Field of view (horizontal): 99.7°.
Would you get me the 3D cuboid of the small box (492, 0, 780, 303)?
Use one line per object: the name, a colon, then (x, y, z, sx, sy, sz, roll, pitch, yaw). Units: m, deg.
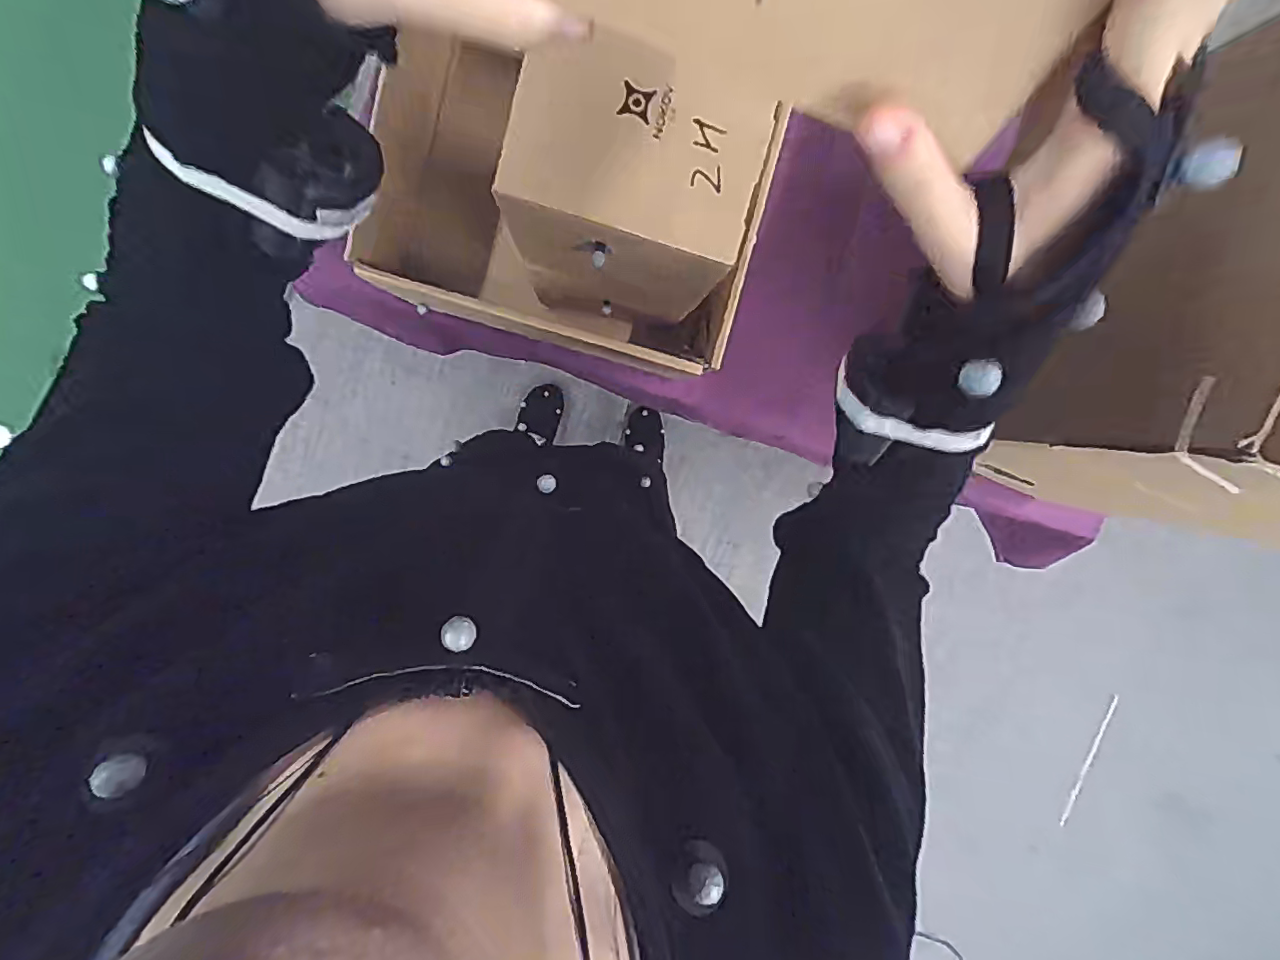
small box: (-0.003, -0.261, 0.448, 0.179, 0.176, 0.168, 15, 96, -7)

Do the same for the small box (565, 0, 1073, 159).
small box: (0.067, -0.241, 0.143, 0.168, 0.179, 0.176, 18, 60, -8)
